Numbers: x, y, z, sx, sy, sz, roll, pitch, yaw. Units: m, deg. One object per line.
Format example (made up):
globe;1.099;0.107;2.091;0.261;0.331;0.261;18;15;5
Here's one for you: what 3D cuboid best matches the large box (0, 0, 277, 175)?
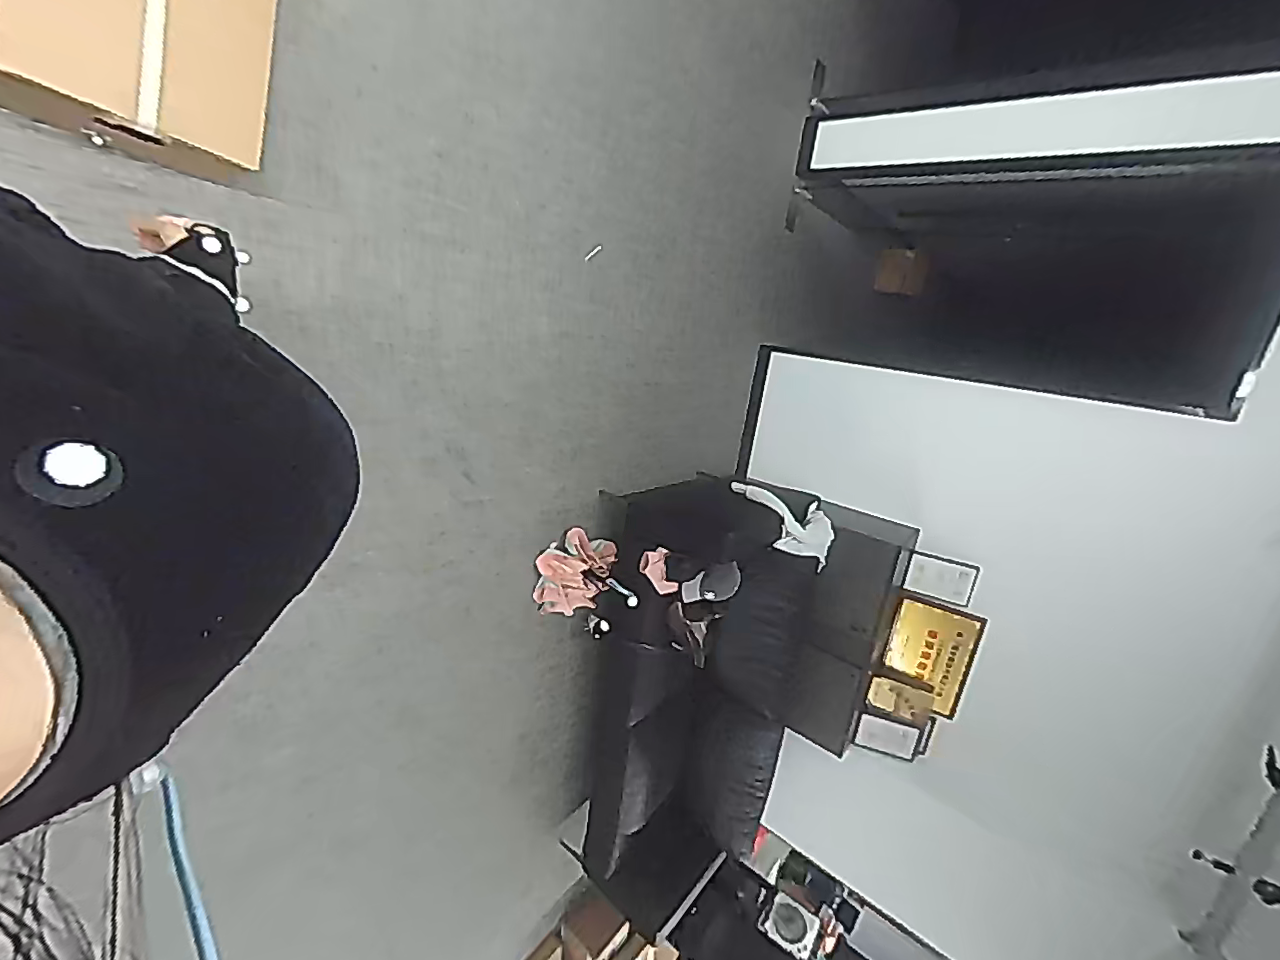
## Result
large box;-0.846;-0.794;0.907;0.320;0.320;0.408;0;105;-53
